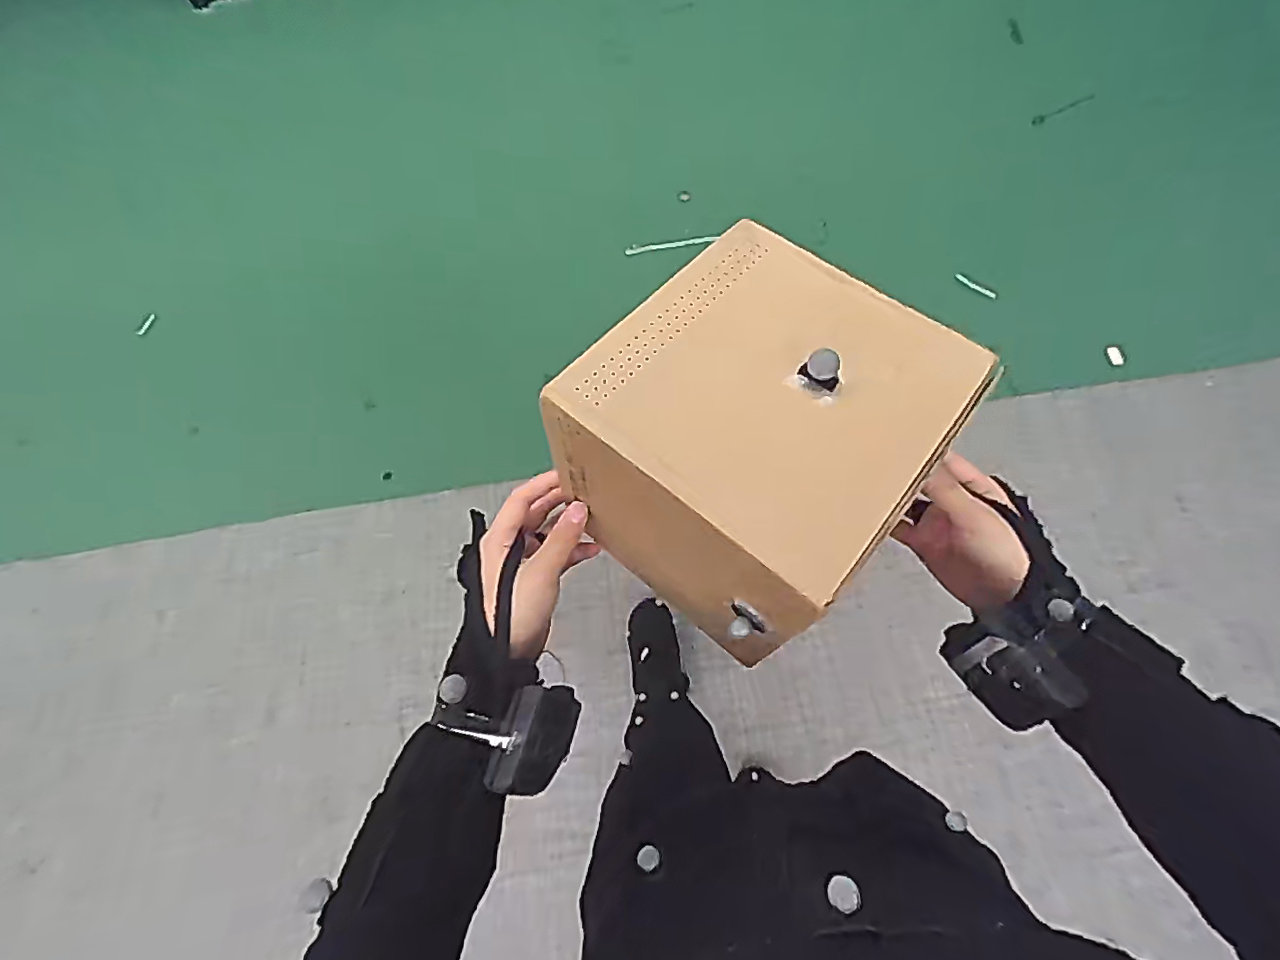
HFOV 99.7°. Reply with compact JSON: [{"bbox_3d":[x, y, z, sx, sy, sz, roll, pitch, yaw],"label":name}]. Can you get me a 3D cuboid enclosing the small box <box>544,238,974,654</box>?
[{"bbox_3d":[0.063,-0.021,0.355,0.176,0.168,0.179,38,68,17],"label":"small box"}]
